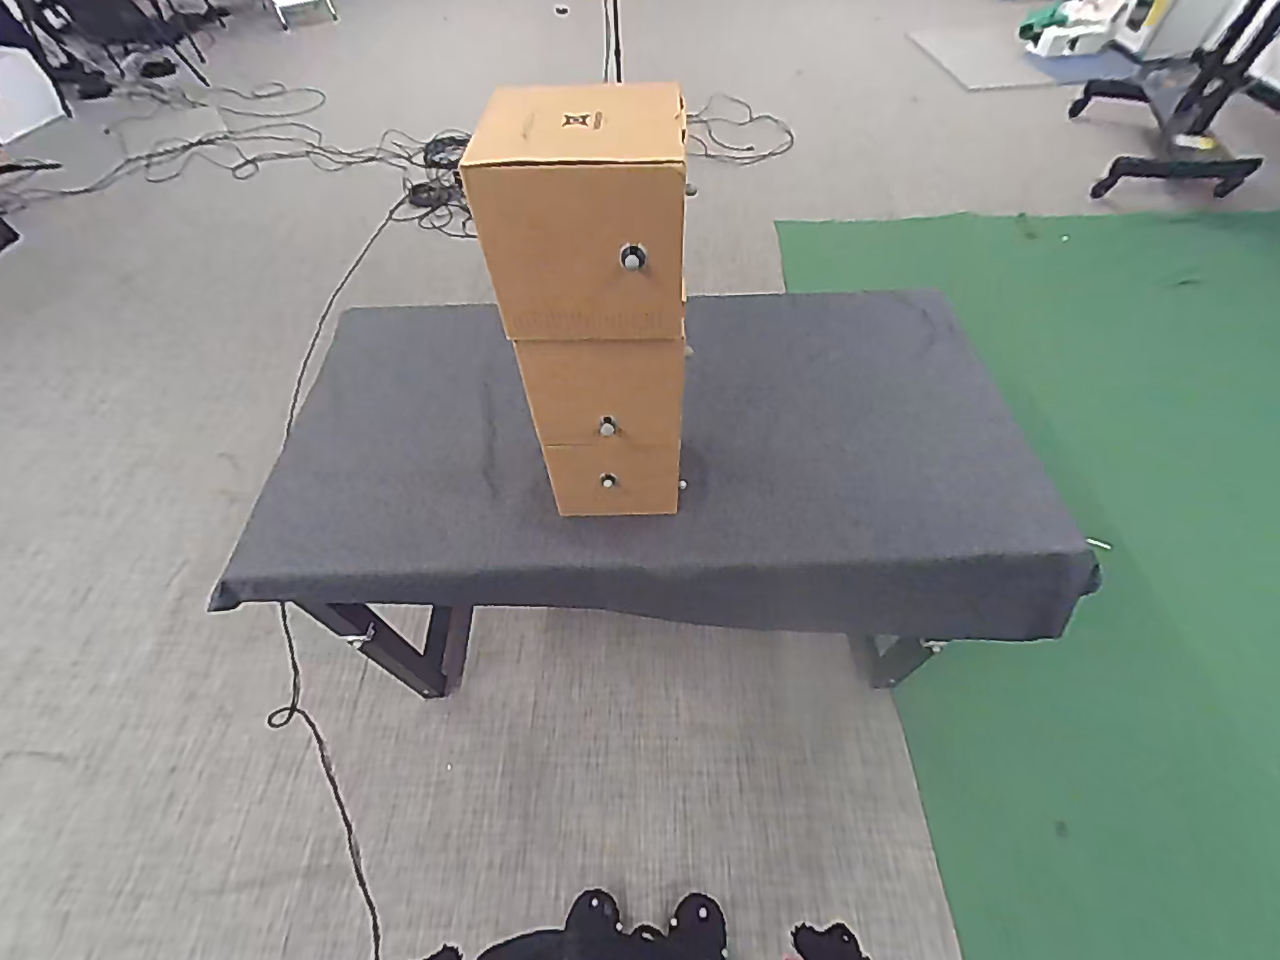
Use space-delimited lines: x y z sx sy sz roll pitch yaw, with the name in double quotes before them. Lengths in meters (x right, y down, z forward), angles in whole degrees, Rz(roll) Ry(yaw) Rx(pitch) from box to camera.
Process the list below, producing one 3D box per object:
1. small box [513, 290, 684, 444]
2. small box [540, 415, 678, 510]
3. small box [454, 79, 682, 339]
"small box" -0.043 -0.159 0.656 0.179 0.176 0.168 -4 55 1
"small box" -0.037 -0.068 0.788 0.179 0.176 0.168 -2 54 2
"small box" -0.051 -0.253 0.520 0.179 0.176 0.168 -2 53 3
